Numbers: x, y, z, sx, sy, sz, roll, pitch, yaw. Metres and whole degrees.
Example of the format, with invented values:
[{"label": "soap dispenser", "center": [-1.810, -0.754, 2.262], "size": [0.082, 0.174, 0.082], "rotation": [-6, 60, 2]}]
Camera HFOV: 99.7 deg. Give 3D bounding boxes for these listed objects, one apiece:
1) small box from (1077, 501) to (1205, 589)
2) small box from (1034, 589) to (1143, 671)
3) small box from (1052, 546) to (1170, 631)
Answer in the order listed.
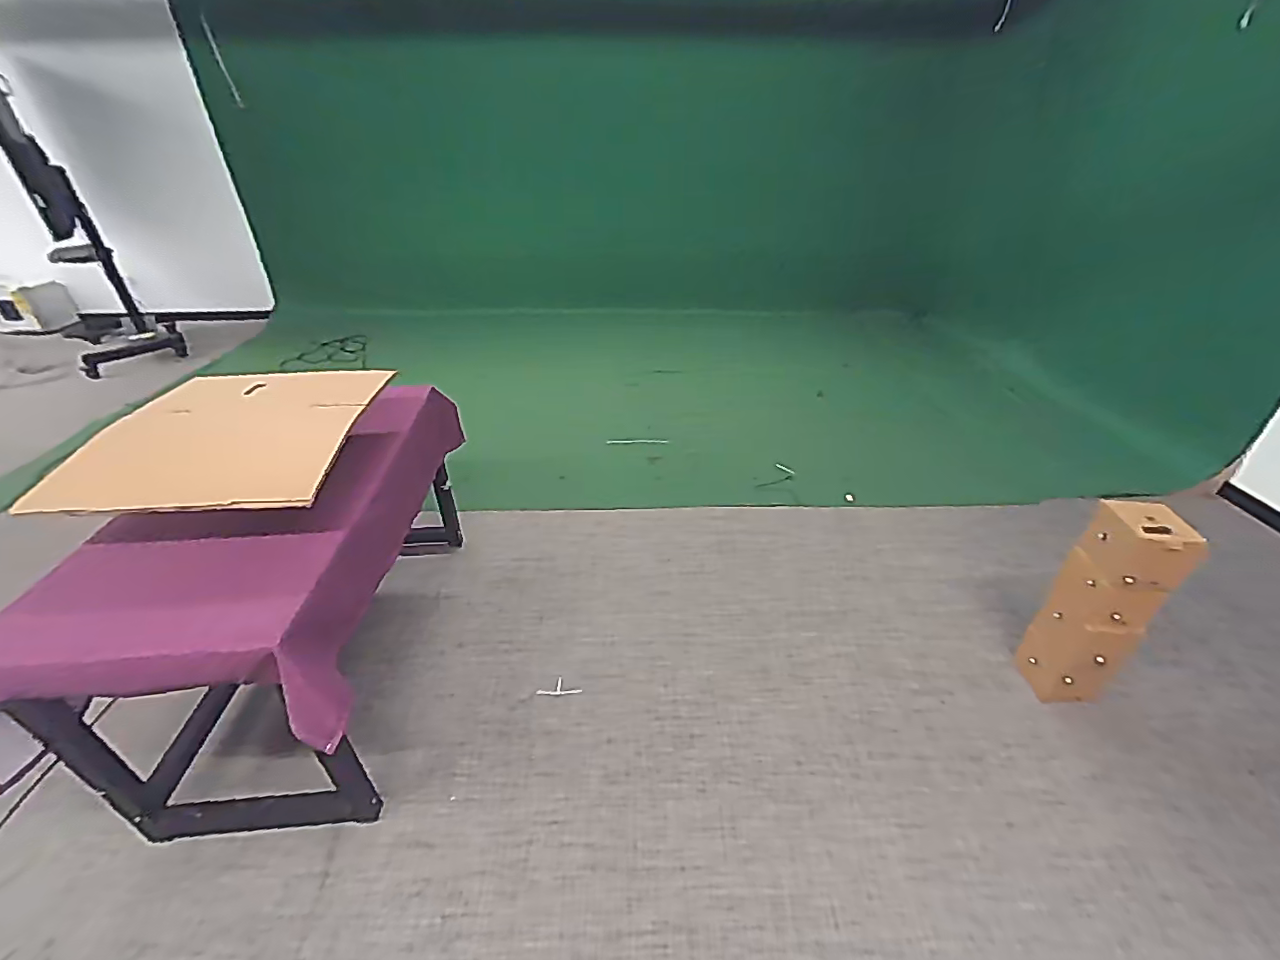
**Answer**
[{"label": "small box", "center": [1.363, 0.179, 1.487], "size": [0.168, 0.176, 0.179], "rotation": [4, 32, 6]}, {"label": "small box", "center": [1.361, 0.458, 1.658], "size": [0.168, 0.176, 0.179], "rotation": [0, 33, 3]}, {"label": "small box", "center": [1.360, 0.315, 1.580], "size": [0.168, 0.176, 0.179], "rotation": [2, 34, 5]}]
